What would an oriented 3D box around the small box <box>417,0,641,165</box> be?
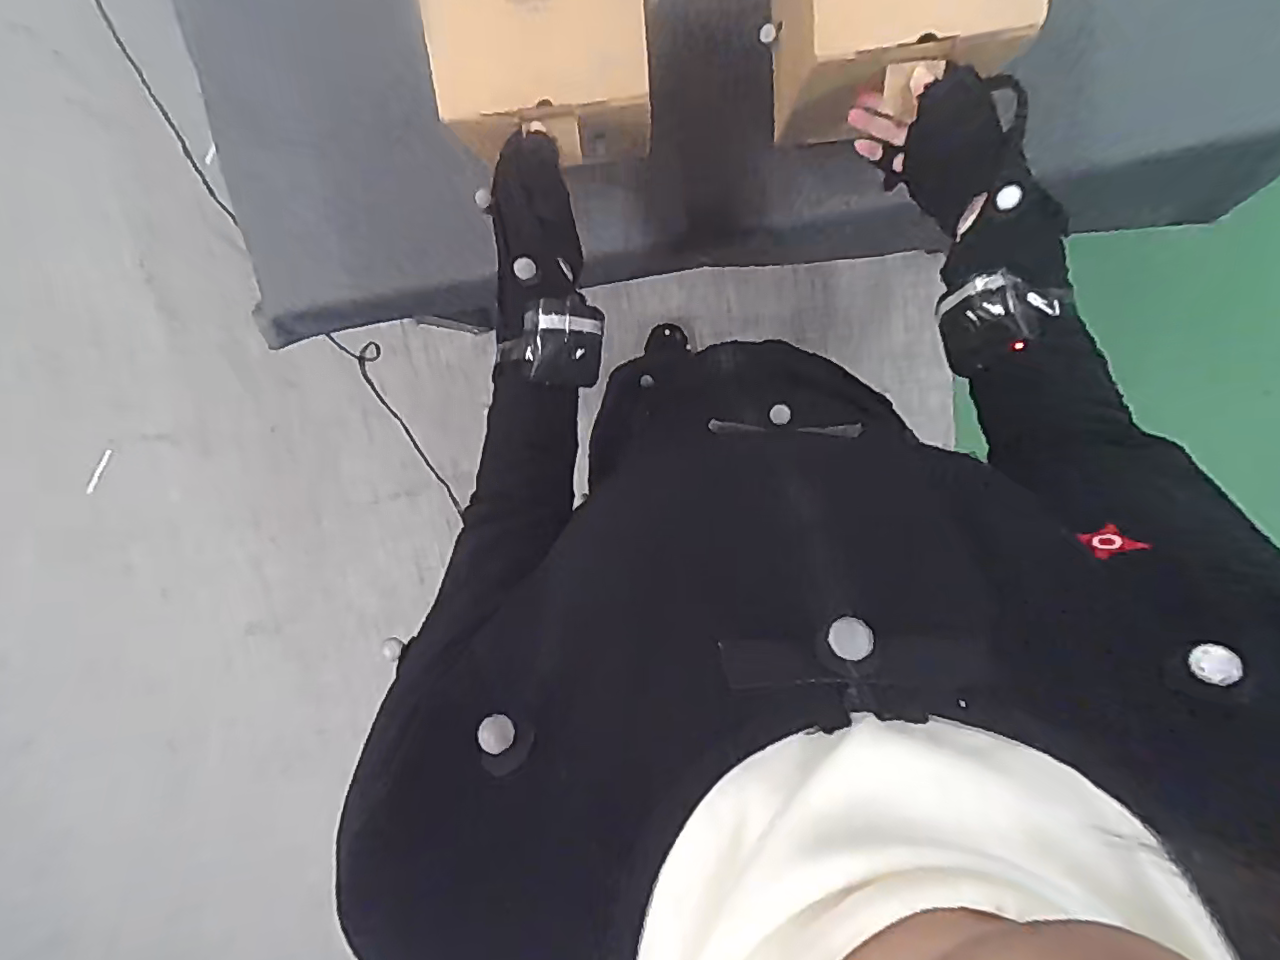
[{"bbox_3d":[-0.087,-0.396,0.478,0.168,0.176,0.179,-6,107,1],"label":"small box"}]
